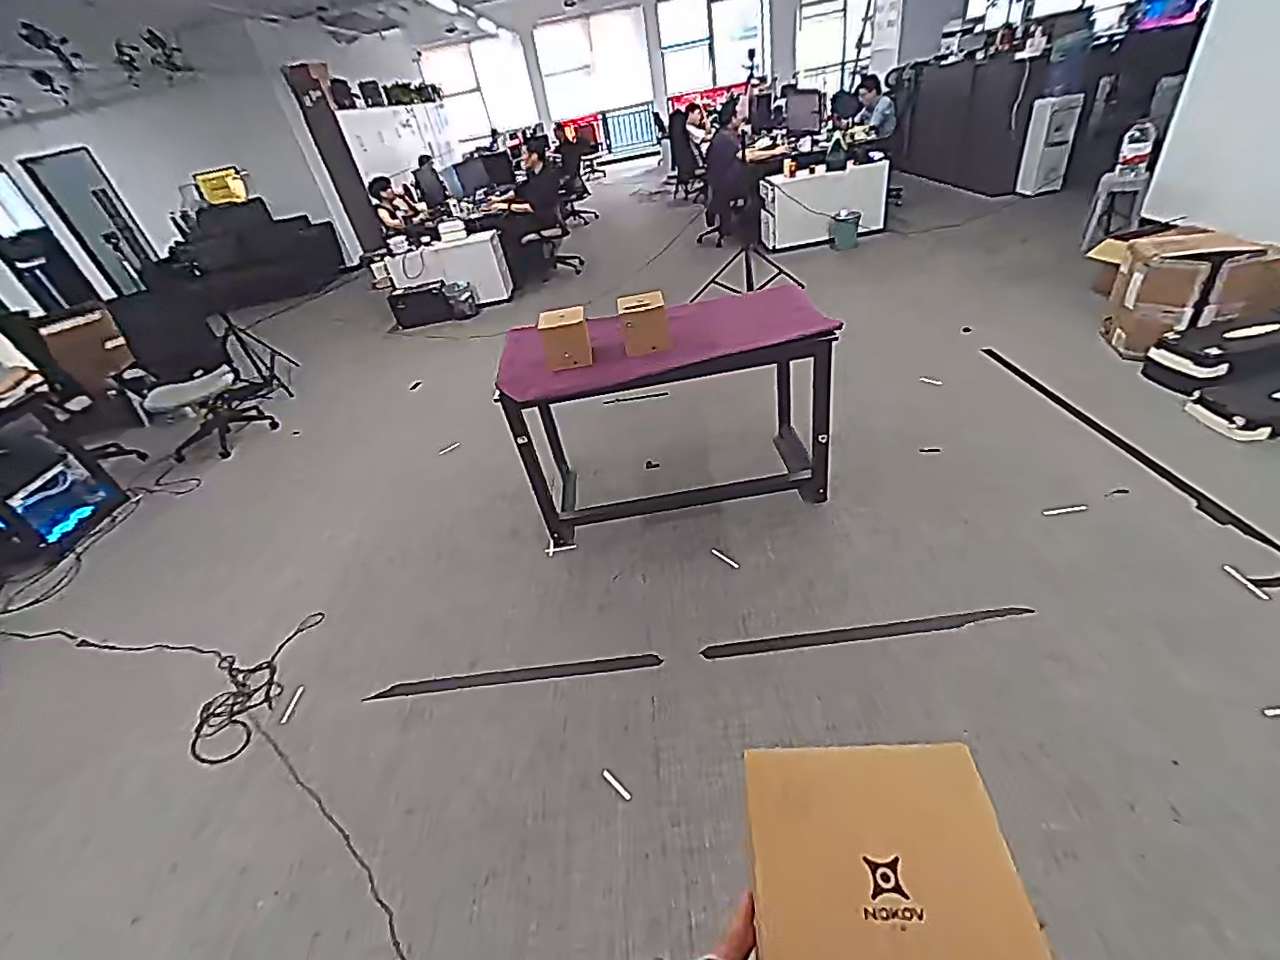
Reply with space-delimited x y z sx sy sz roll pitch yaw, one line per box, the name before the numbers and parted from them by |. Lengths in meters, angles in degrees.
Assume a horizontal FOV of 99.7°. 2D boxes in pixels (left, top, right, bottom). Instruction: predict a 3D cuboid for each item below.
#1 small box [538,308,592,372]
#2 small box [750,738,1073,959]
small box | -0.275 -0.520 2.007 0.168 0.176 0.179 -10 36 1
small box | 0.172 0.311 0.390 0.168 0.176 0.179 -4 41 6
